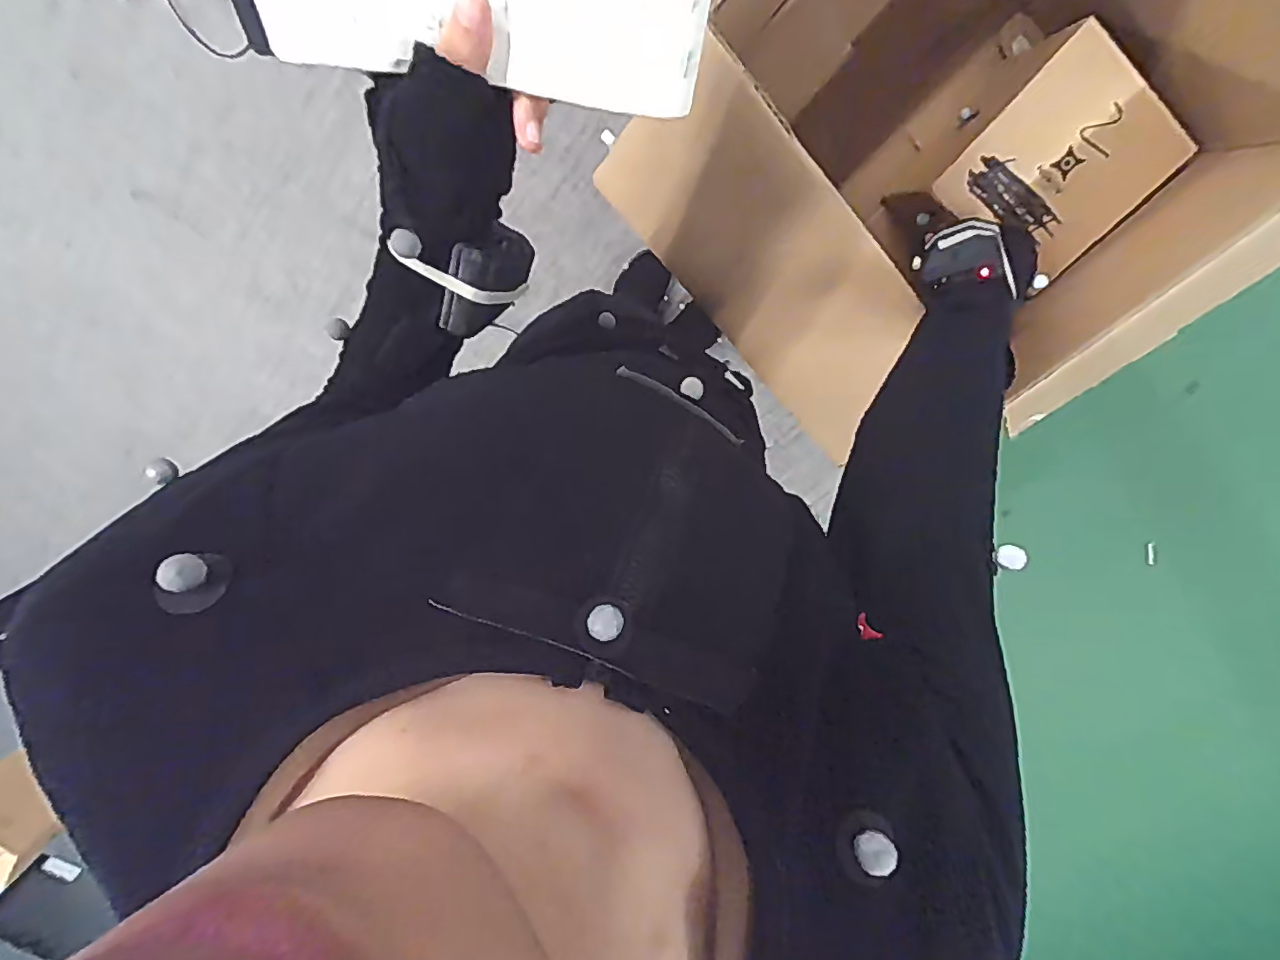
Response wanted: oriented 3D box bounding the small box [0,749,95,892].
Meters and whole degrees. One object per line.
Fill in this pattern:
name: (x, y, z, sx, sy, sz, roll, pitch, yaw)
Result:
small box: (-1.299, 0.697, 1.118, 0.168, 0.176, 0.179, 38, 114, -13)
